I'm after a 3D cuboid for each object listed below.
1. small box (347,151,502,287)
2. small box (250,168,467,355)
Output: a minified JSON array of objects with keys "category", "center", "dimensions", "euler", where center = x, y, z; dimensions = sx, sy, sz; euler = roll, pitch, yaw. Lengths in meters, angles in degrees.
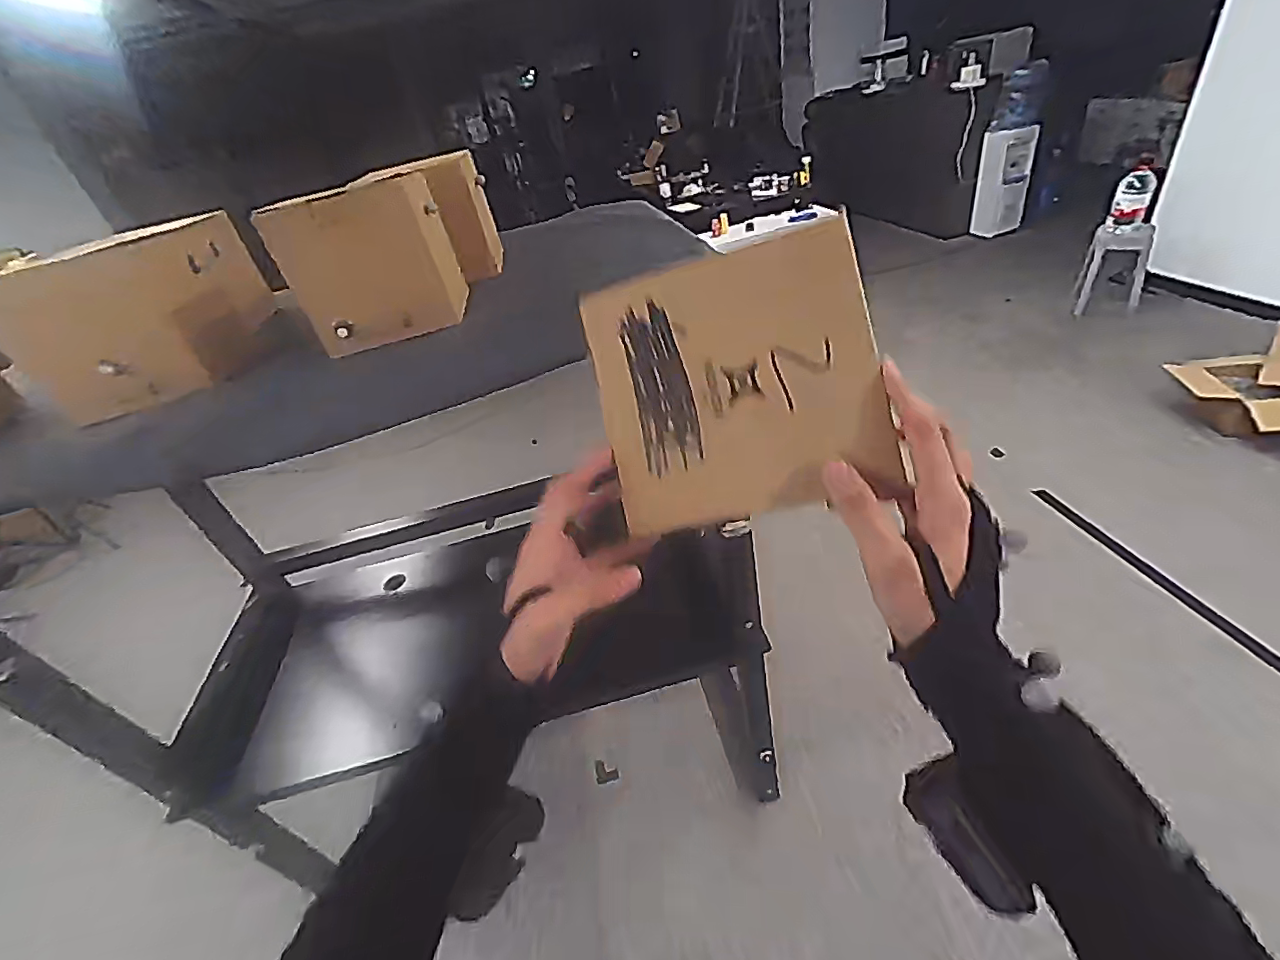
[{"category":"small box","center":[-0.328,-0.407,0.864],"dimensions":[0.168,0.176,0.179],"euler":[-16,37,-2]},{"category":"small box","center":[-0.329,-0.271,0.678],"dimensions":[0.168,0.176,0.179],"euler":[-17,34,-3]}]
